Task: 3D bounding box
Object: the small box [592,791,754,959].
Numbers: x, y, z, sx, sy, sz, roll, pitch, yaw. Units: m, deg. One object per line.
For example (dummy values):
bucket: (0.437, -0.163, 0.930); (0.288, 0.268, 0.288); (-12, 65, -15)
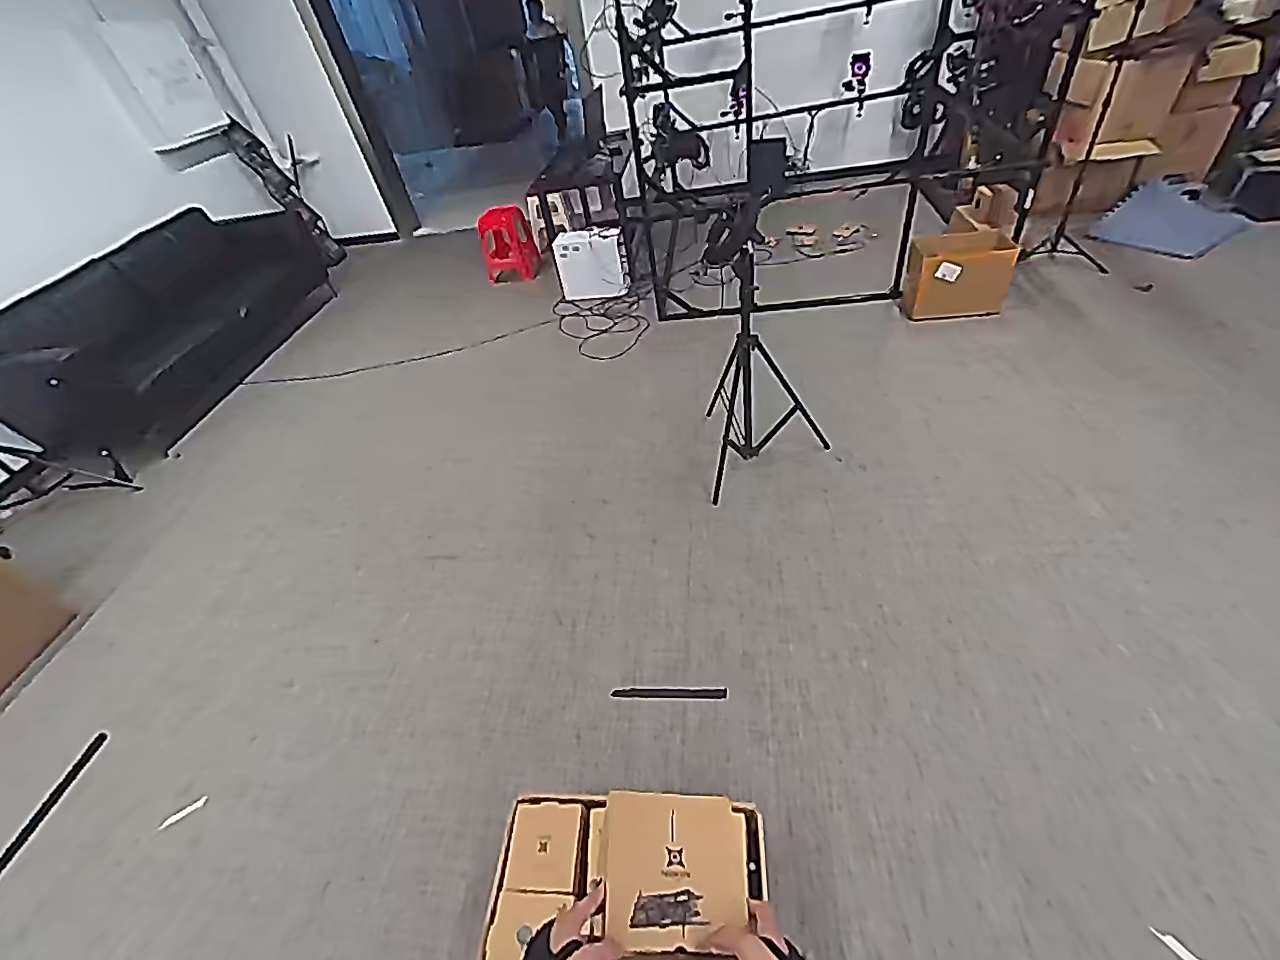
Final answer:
small box: (0.031, 0.527, 0.675); (0.168, 0.176, 0.179); (6, 28, -4)
